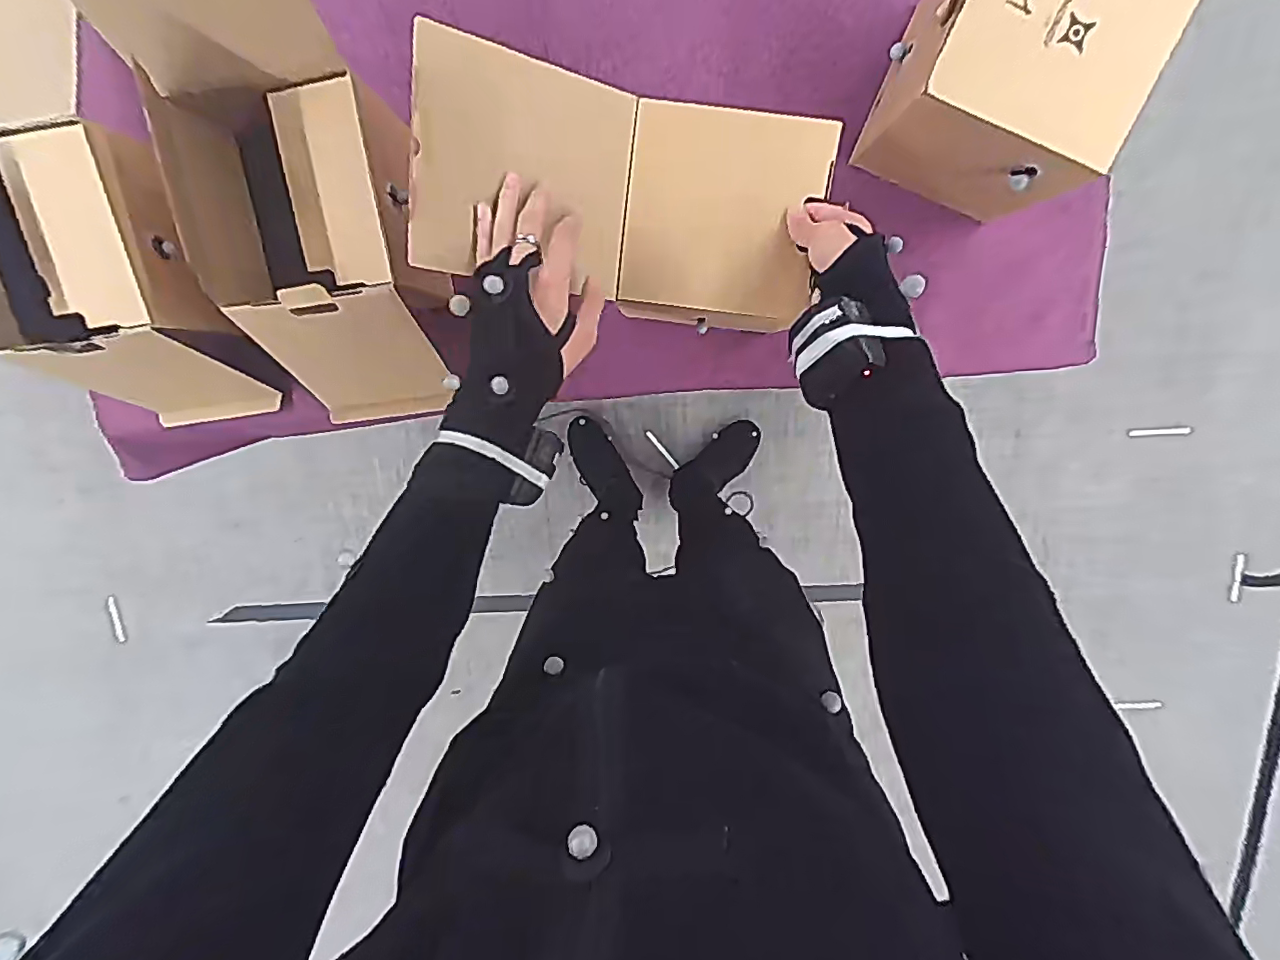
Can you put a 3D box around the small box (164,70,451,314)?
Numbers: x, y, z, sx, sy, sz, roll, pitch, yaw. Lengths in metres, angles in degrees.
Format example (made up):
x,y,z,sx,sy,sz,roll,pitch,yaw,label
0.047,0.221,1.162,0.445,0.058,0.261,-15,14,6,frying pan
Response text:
x,y,z,sx,sy,sz,roll,pitch,yaw,label
-0.309,-0.267,0.547,0.168,0.176,0.179,-6,102,2,small box

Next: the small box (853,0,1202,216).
x,y,z,sx,sy,sz,roll,pitch,yaw,label
0.339,-0.373,0.509,0.179,0.176,0.168,22,102,-4,small box
